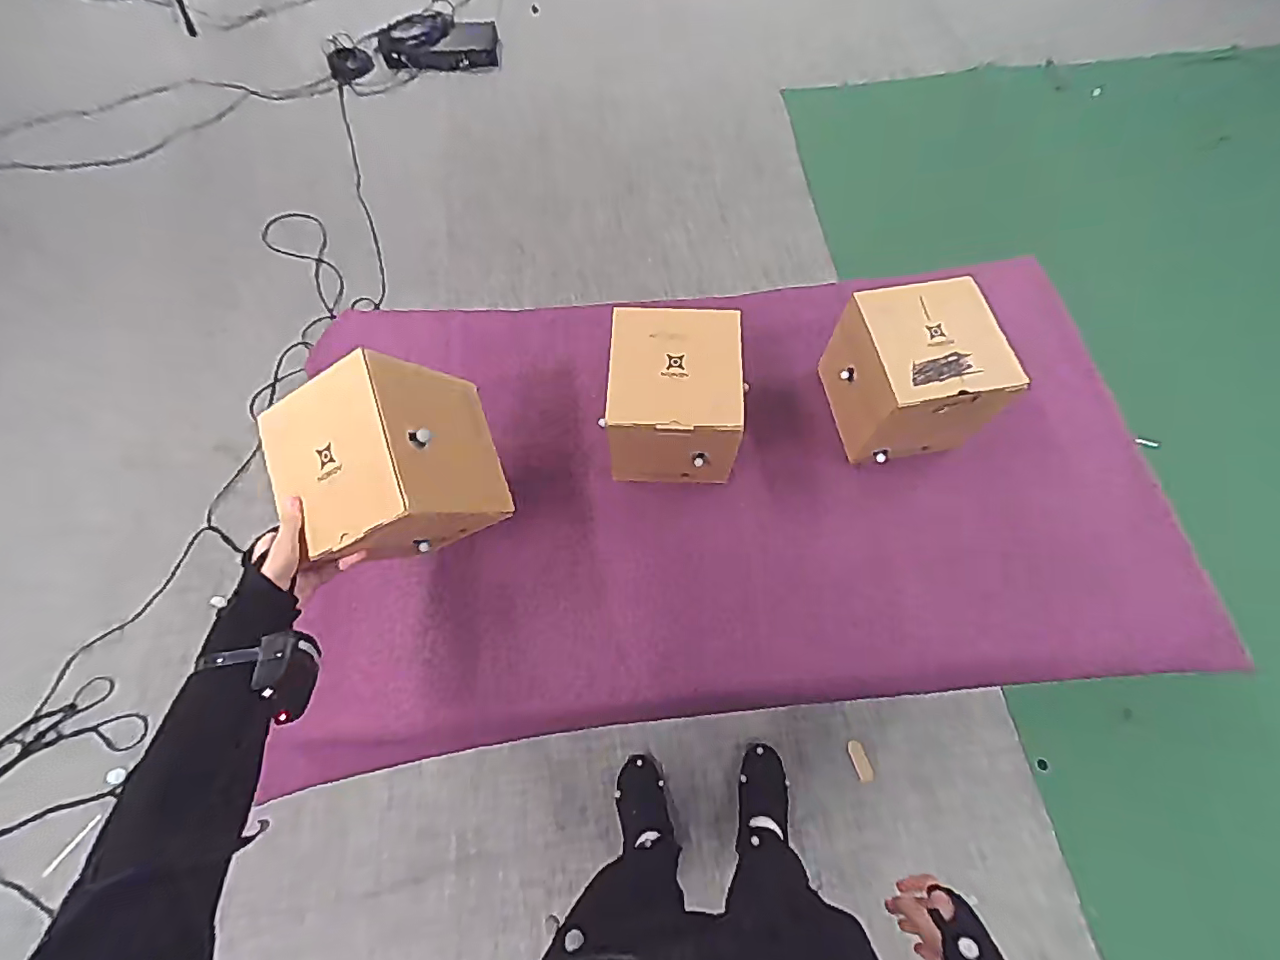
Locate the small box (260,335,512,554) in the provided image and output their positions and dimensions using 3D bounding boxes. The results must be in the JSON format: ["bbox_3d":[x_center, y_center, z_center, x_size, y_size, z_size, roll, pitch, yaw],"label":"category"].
[{"bbox_3d":[-0.273,-0.028,0.603,0.168,0.176,0.179,-23,80,20],"label":"small box"}]

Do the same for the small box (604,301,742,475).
[{"bbox_3d":[0.045,-0.116,0.733,0.168,0.176,0.179,3,67,1],"label":"small box"}]

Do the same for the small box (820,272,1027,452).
[{"bbox_3d":[0.369,-0.150,0.742,0.168,0.176,0.179,-8,66,-3],"label":"small box"}]
